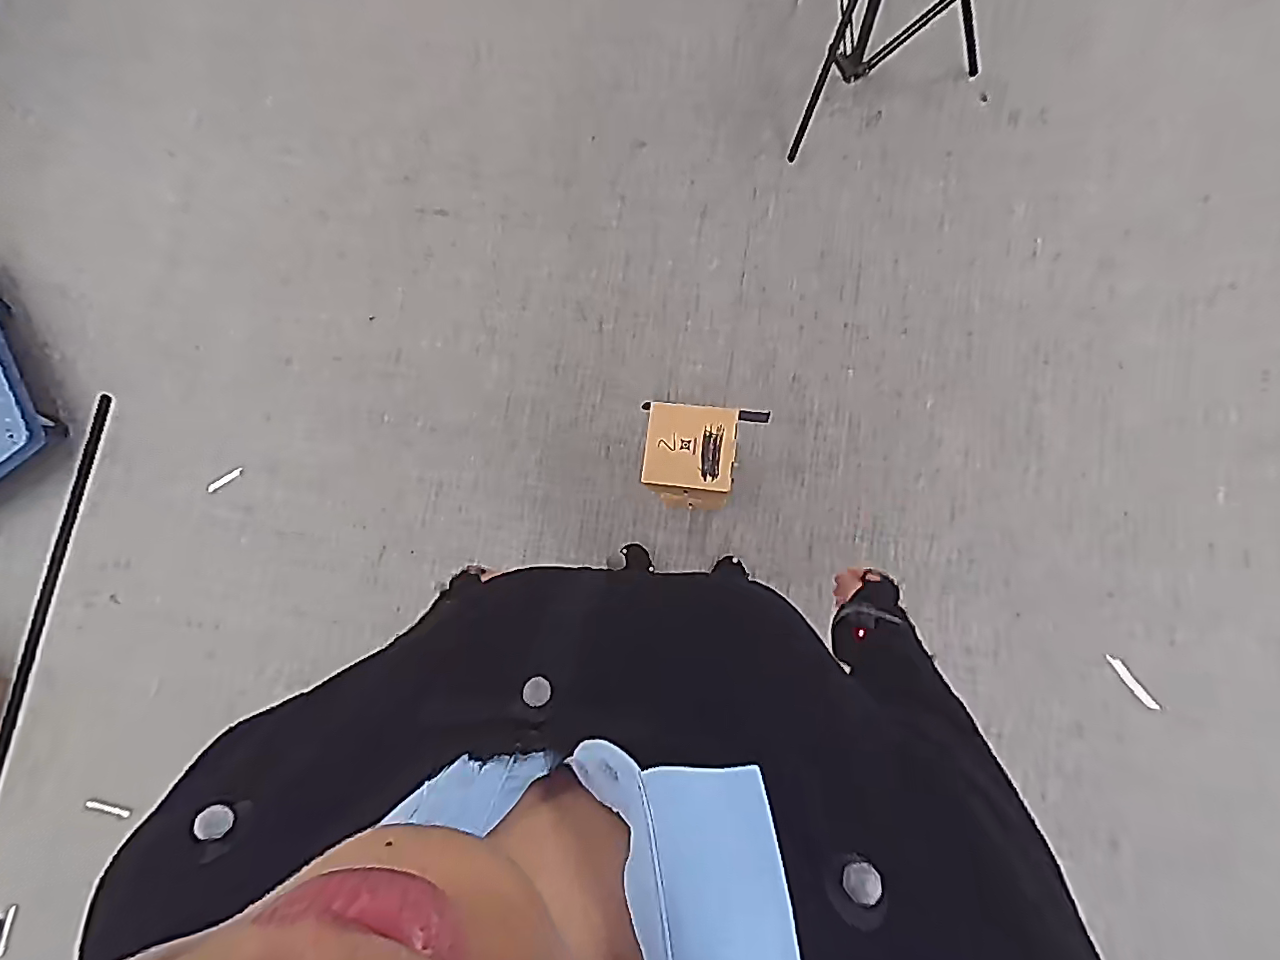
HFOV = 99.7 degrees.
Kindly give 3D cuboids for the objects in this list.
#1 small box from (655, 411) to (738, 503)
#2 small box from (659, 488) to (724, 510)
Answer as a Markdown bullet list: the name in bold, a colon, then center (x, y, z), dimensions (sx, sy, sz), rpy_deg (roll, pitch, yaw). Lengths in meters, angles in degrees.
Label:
- **small box**: center (0.135, -0.050, 1.288), dimensions (0.168, 0.176, 0.179), rpy_deg (8, 84, 9)
- **small box**: center (0.150, -0.018, 1.447), dimensions (0.168, 0.176, 0.179), rpy_deg (6, 82, 8)
